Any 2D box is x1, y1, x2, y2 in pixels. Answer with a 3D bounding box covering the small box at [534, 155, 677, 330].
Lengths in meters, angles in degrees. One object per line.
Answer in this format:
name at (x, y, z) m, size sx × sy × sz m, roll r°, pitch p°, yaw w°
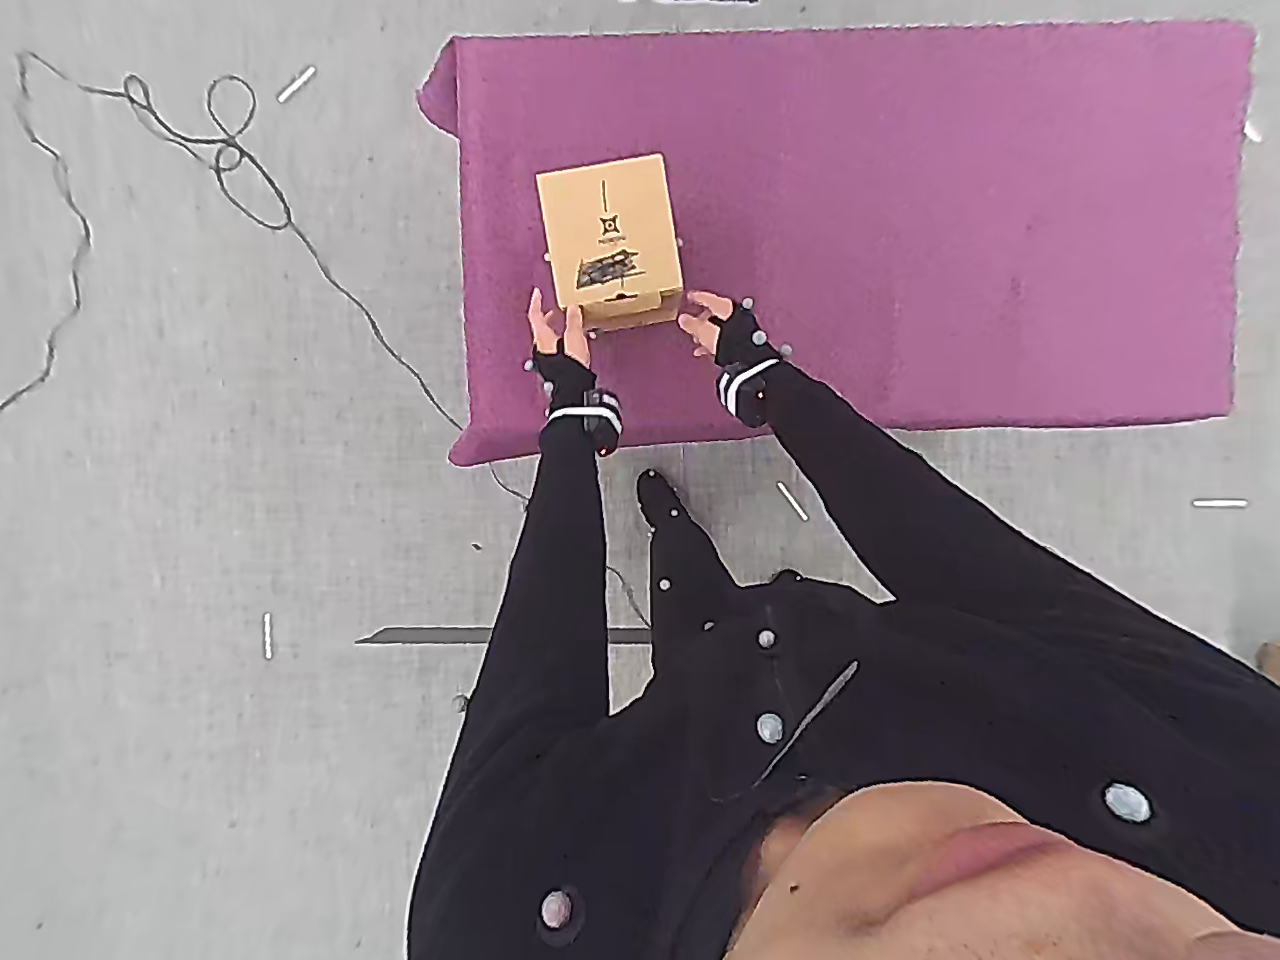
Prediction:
small box at (-0.043, -0.322, 0.774) m, size 0.168 × 0.176 × 0.179 m, roll -9°, pitch 92°, yaw 0°
